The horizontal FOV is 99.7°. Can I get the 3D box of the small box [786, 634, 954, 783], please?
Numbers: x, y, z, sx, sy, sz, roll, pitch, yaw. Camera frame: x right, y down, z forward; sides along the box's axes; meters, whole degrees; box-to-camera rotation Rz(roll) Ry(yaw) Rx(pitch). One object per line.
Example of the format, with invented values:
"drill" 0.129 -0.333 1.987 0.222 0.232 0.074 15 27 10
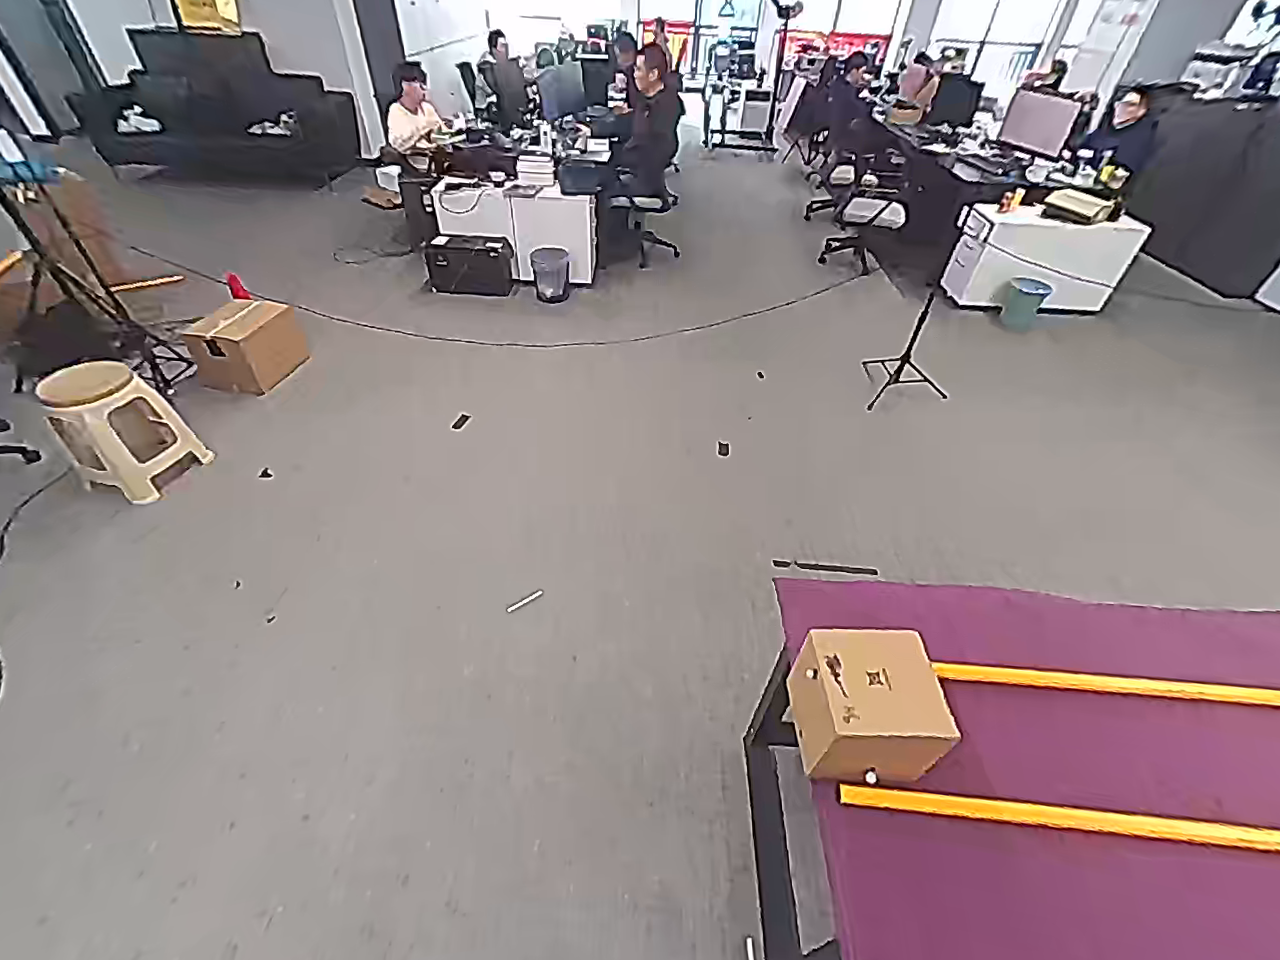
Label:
"small box" 0.349 0.365 0.861 0.179 0.176 0.168 3 43 -1
